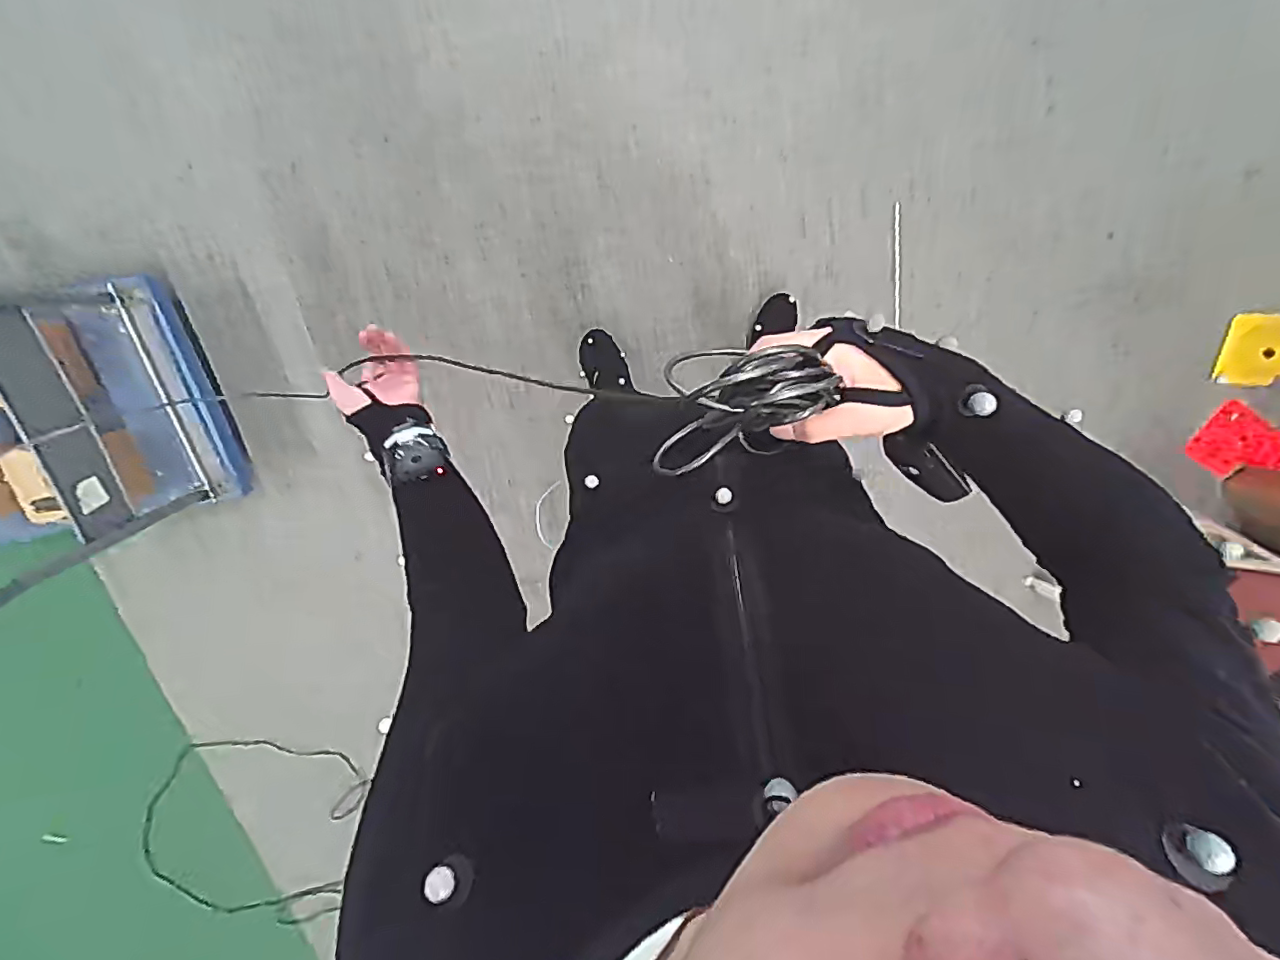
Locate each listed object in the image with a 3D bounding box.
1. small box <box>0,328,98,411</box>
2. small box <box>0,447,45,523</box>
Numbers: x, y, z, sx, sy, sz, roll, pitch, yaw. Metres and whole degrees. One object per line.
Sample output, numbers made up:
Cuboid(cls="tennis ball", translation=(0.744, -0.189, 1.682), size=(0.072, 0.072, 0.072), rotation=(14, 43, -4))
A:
Cuboid(cls="small box", translation=(-1.412, -0.247, 1.223), size=(0.179, 0.176, 0.168), rotation=(-9, 108, -1))
Cuboid(cls="small box", translation=(-1.618, 0.030, 1.304), size=(0.179, 0.176, 0.168), rotation=(-13, 108, 2))
